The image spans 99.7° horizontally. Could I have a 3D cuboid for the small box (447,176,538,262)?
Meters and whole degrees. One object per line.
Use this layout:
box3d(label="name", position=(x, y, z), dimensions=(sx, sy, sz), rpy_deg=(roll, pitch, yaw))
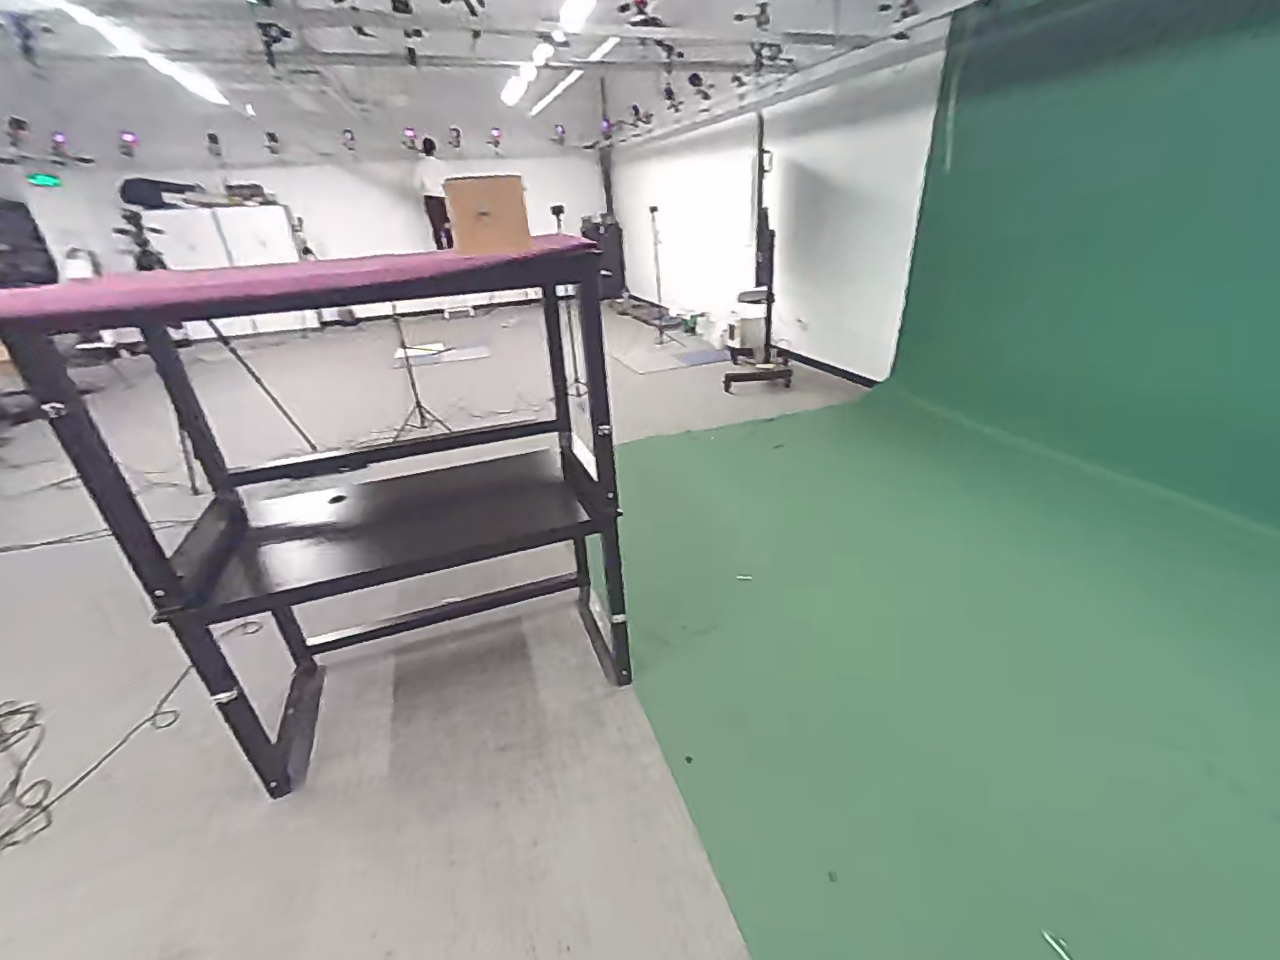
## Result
box3d(label="small box", position=(-0.361, -0.632, 1.324), dimensions=(0.179, 0.176, 0.168), rpy_deg=(-13, 26, -15))
